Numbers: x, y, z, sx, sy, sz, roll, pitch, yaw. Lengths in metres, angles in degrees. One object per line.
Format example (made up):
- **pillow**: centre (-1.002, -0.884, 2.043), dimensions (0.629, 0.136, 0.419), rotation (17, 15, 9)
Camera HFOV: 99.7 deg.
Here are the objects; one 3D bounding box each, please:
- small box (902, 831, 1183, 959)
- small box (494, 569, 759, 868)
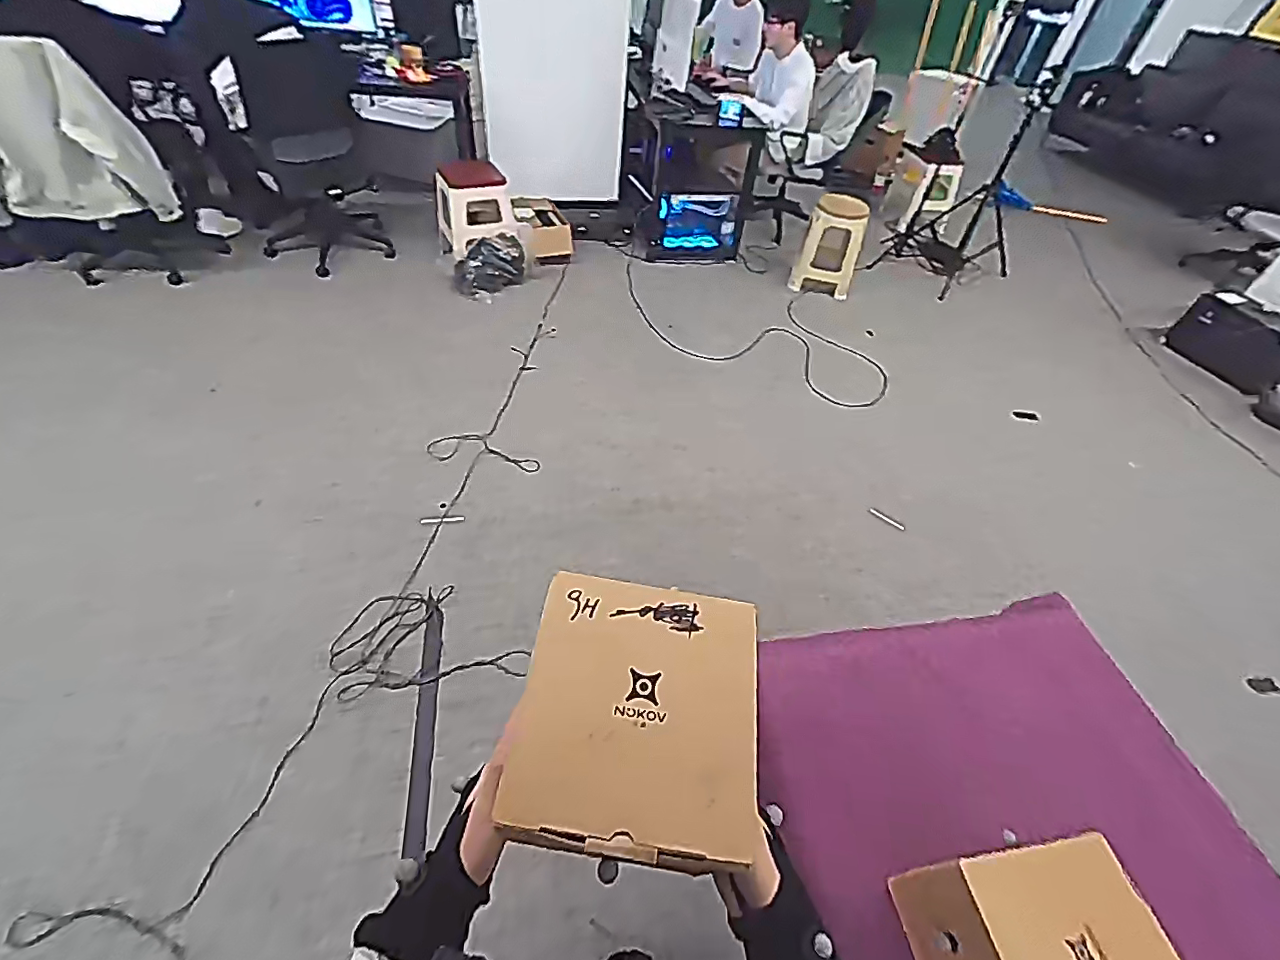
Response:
- **small box**: centre (0.402, 0.483, 0.554), dimensions (0.179, 0.176, 0.168), rotation (-2, 48, -11)
- **small box**: centre (-0.006, 0.198, 0.441), dimensions (0.168, 0.176, 0.179), rotation (10, 54, -1)
